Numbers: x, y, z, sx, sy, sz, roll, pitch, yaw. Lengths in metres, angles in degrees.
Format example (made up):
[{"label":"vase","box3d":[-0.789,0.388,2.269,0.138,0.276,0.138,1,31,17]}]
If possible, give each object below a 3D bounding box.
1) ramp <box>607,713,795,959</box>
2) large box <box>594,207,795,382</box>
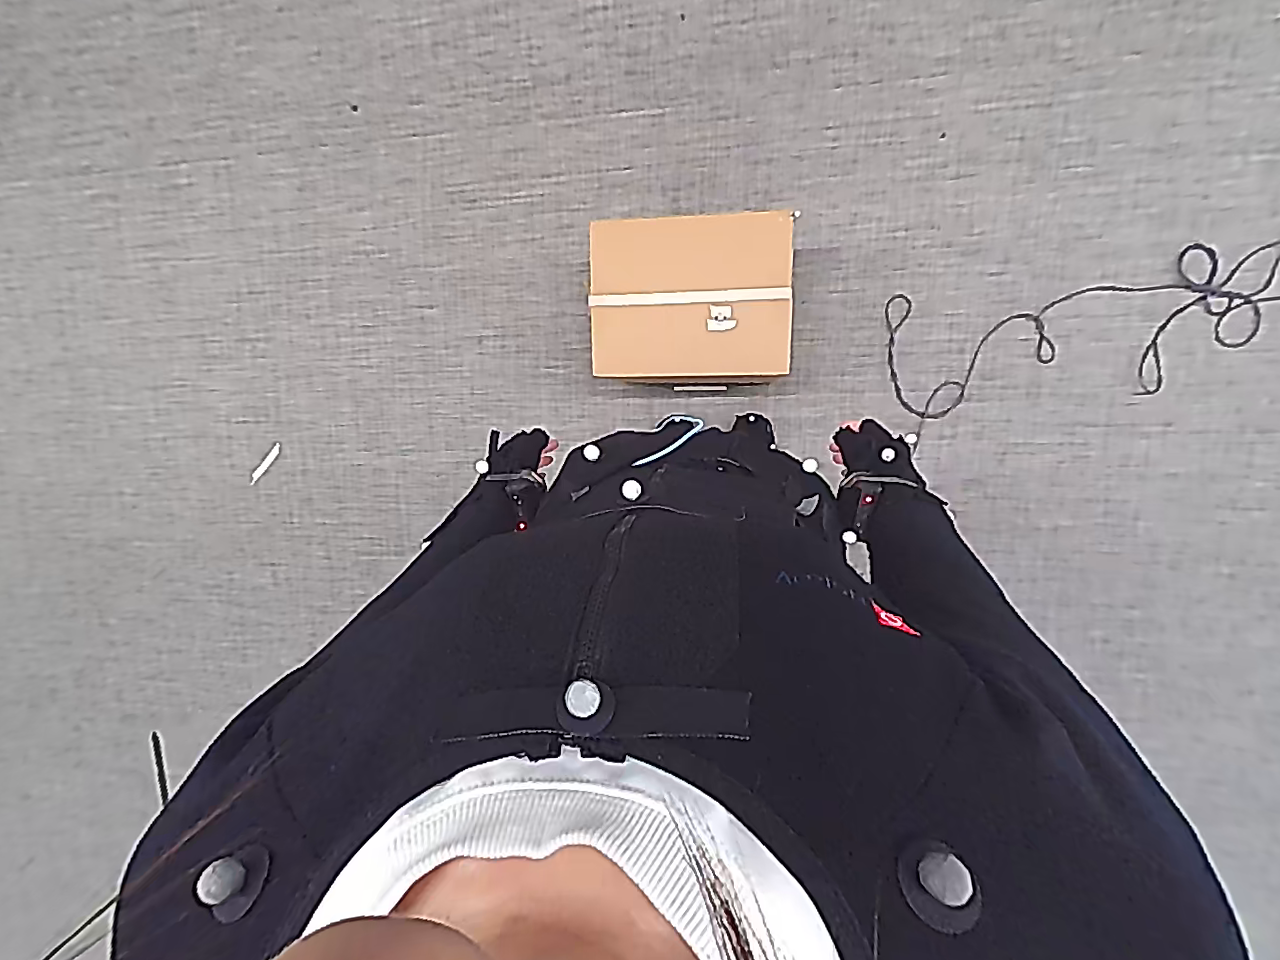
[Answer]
[{"label":"ramp","box3d":[0.156,1.177,1.497,0.509,0.206,0.991,1,97,11]},{"label":"large box","box3d":[0.126,-0.394,1.234,0.408,0.320,0.320,1,98,8]}]
